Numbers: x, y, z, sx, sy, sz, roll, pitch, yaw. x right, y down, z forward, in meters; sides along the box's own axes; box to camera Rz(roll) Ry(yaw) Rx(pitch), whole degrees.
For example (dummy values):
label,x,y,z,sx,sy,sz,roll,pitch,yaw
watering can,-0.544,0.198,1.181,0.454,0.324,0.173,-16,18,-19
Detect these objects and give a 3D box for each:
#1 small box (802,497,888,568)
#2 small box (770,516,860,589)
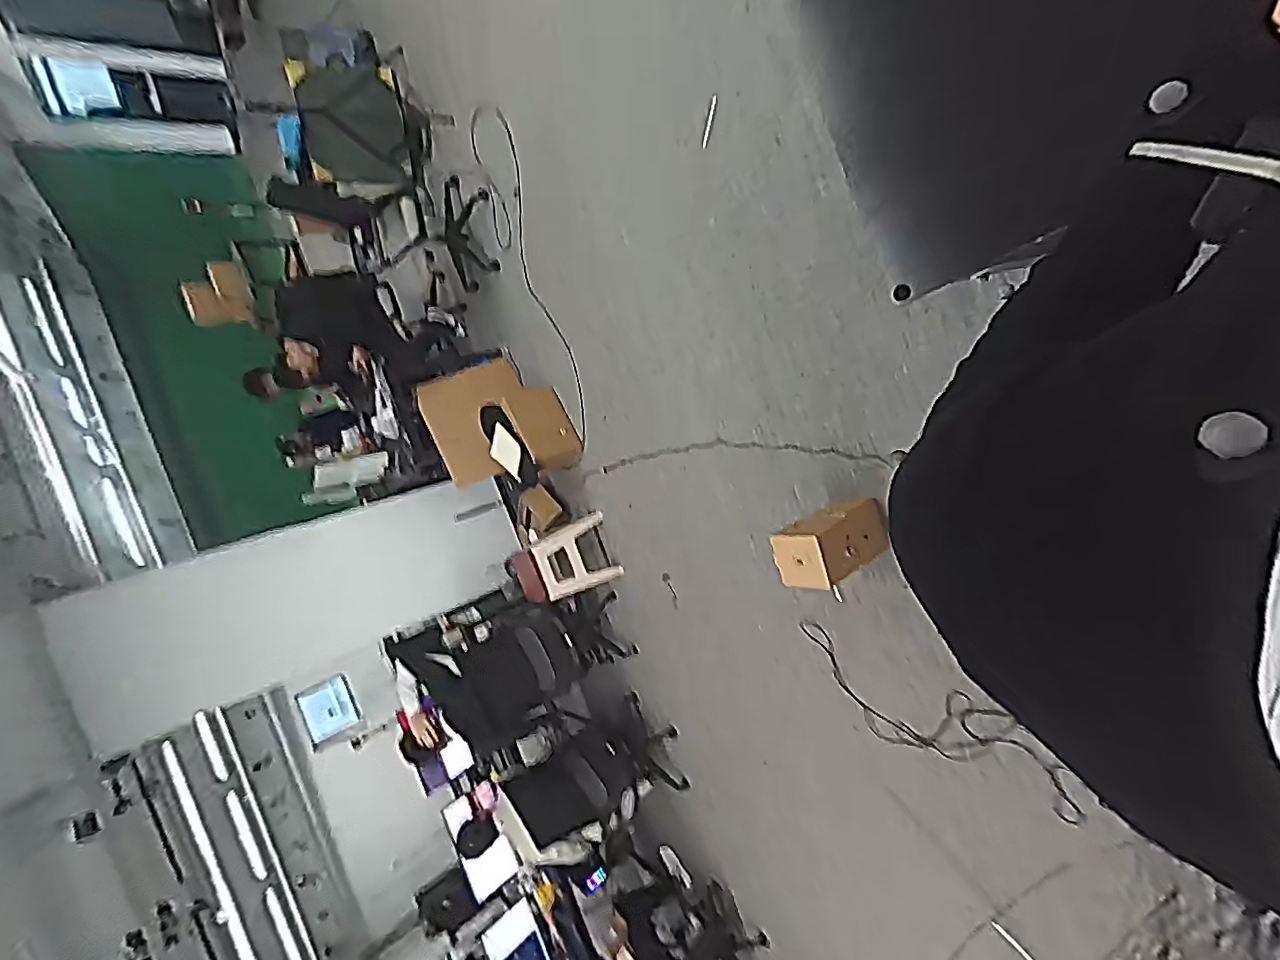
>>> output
label,x,y,z,sx,sy,sz,roll,pitch,yaw
small box,0.658,0.170,1.726,0.168,0.176,0.179,-18,94,55
small box,0.530,0.215,1.635,0.179,0.176,0.168,-10,100,54
